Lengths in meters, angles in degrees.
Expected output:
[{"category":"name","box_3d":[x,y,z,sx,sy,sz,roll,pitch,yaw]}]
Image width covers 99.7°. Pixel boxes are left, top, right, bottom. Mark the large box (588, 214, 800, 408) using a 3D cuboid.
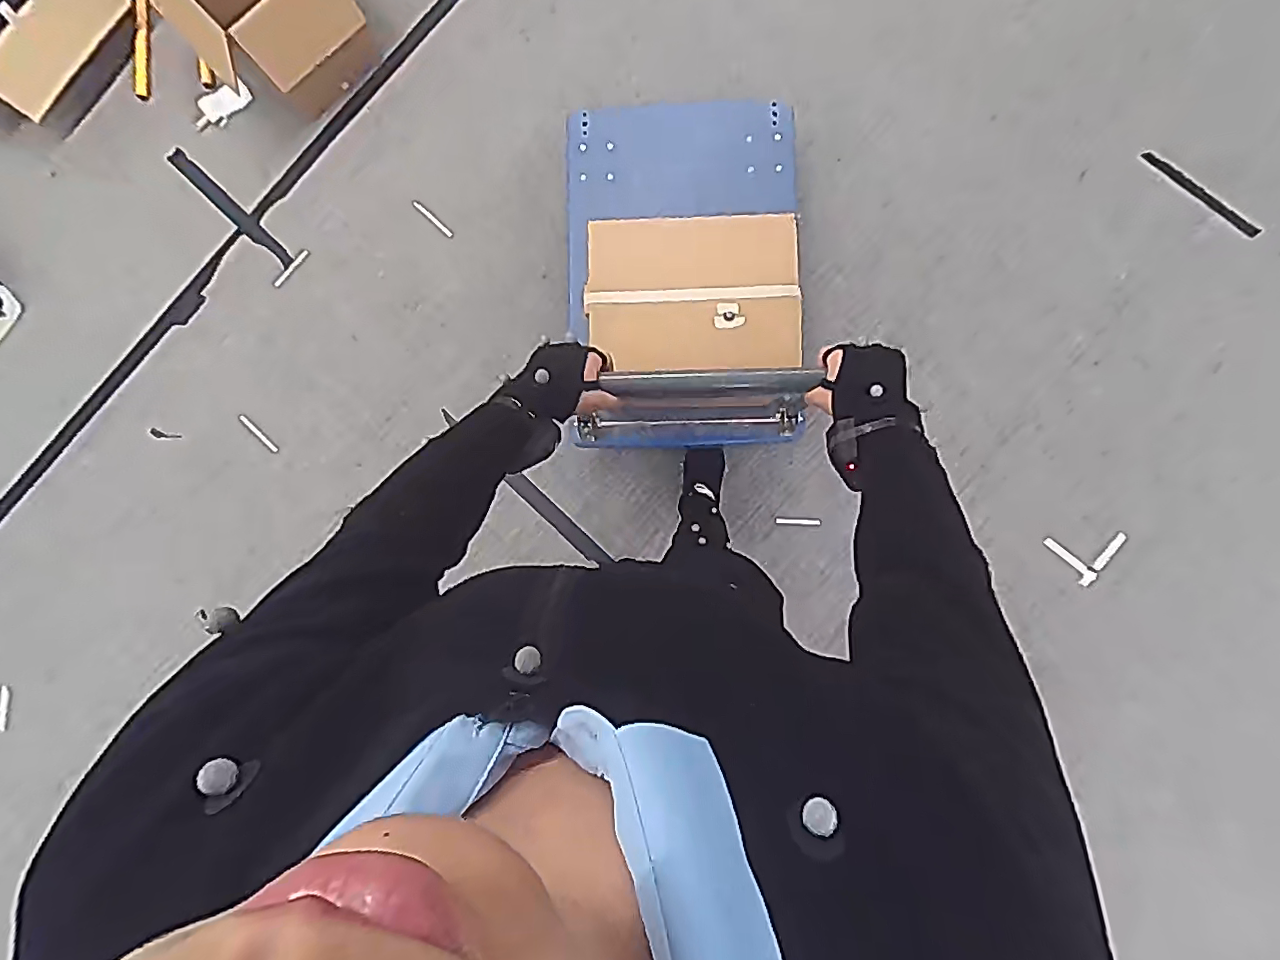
[{"category":"large box","box_3d":[0.104,-0.347,1.190,0.408,0.320,0.320,-1,87,1]}]
